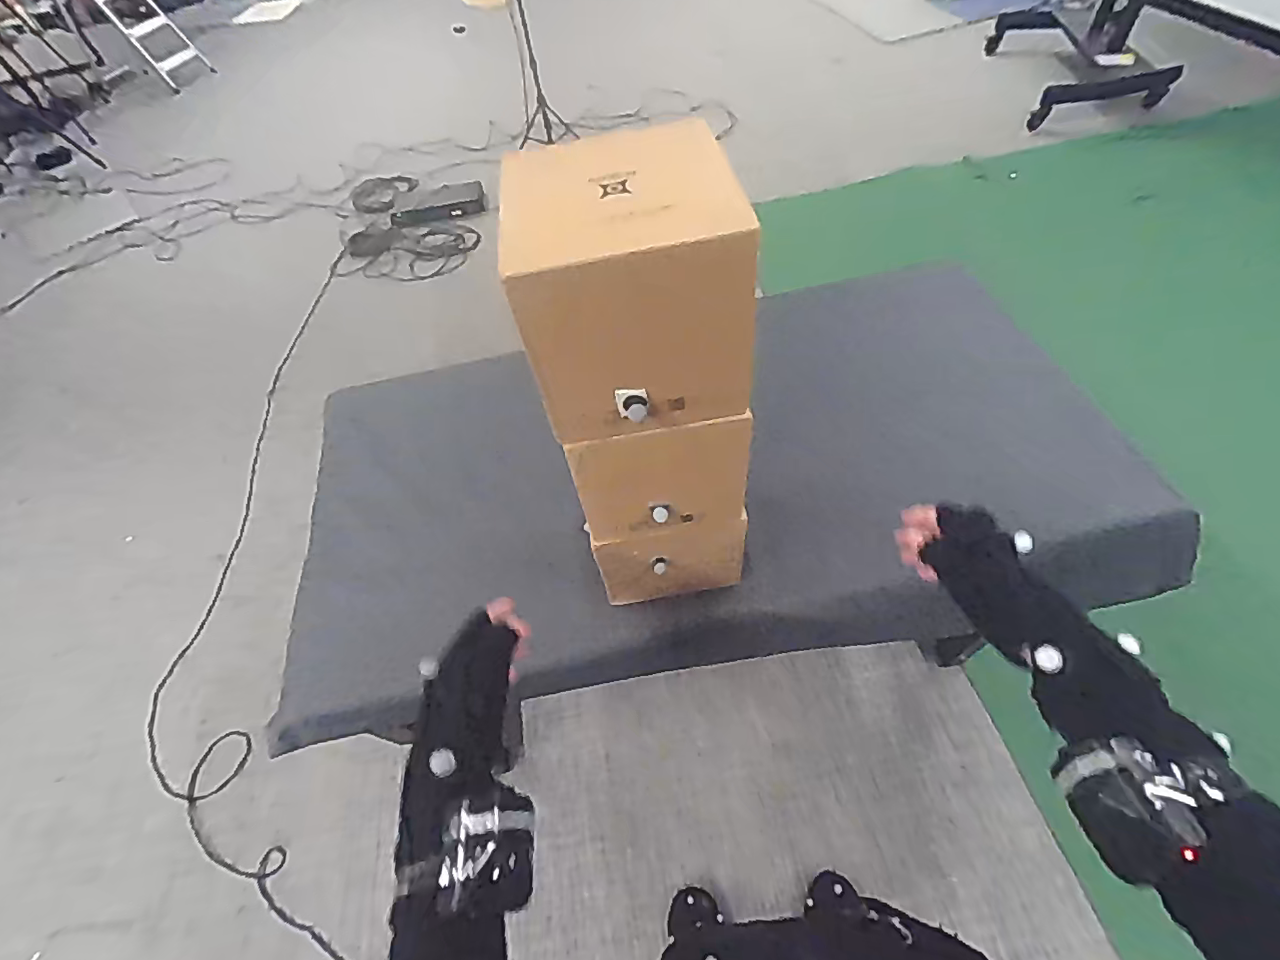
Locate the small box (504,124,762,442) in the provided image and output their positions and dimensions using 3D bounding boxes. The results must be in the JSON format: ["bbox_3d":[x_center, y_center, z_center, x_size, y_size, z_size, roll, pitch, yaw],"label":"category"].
[{"bbox_3d":[-0.007,-0.158,0.448,0.168,0.176,0.179,-10,54,0],"label":"small box"}]

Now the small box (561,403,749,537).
[{"bbox_3d":[0.011,-0.061,0.576,0.168,0.176,0.179,-8,54,1],"label":"small box"}]

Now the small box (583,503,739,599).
[{"bbox_3d":[0.025,0.040,0.705,0.179,0.176,0.168,-9,53,0],"label":"small box"}]
